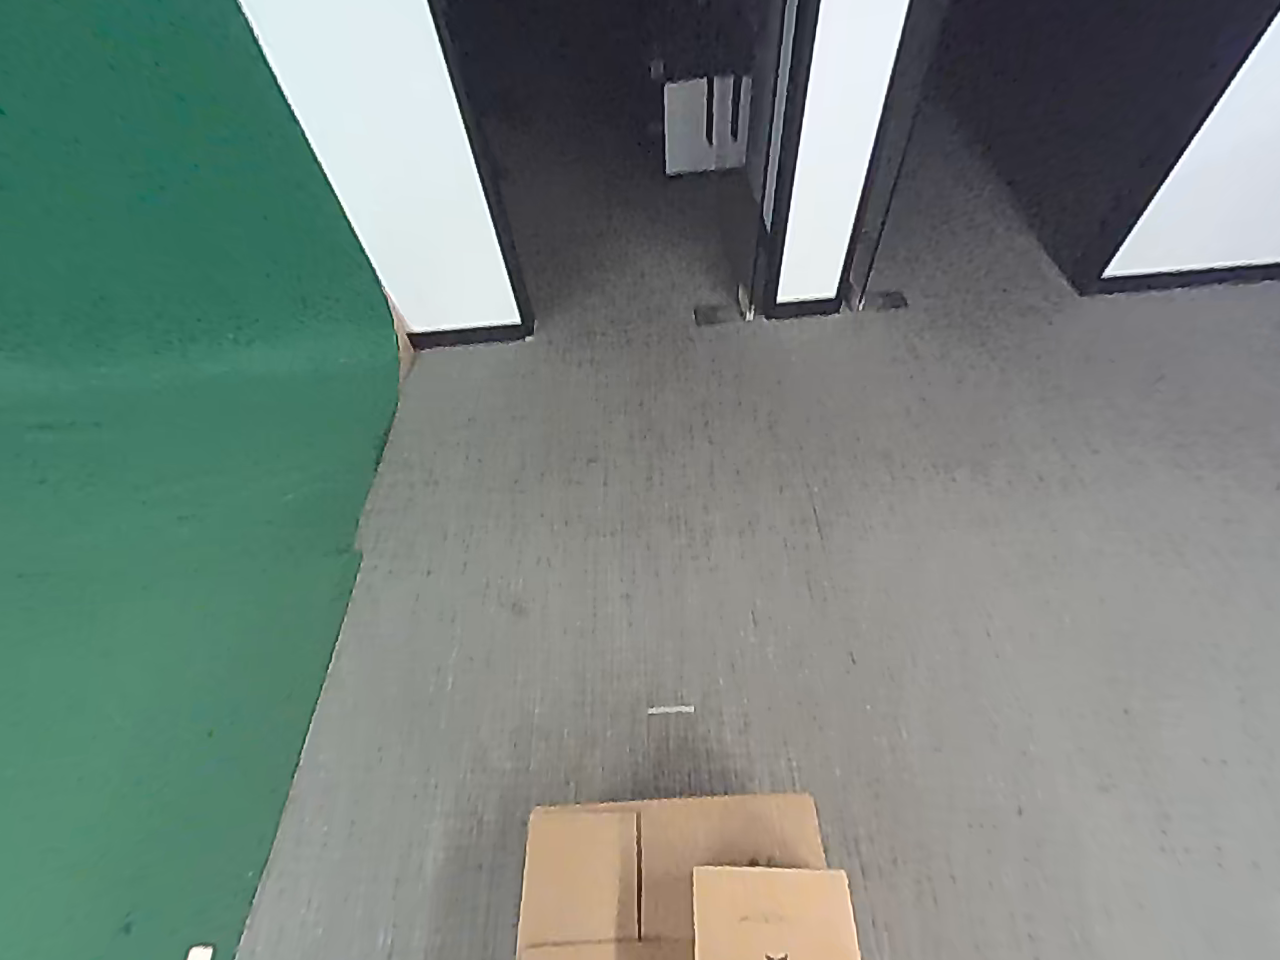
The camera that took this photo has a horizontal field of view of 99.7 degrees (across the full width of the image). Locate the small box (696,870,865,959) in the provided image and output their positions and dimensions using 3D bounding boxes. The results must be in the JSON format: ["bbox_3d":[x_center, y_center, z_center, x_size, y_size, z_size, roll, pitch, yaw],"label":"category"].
[{"bbox_3d":[0.148,0.539,0.589,0.168,0.176,0.179,-2,51,5],"label":"small box"}]
